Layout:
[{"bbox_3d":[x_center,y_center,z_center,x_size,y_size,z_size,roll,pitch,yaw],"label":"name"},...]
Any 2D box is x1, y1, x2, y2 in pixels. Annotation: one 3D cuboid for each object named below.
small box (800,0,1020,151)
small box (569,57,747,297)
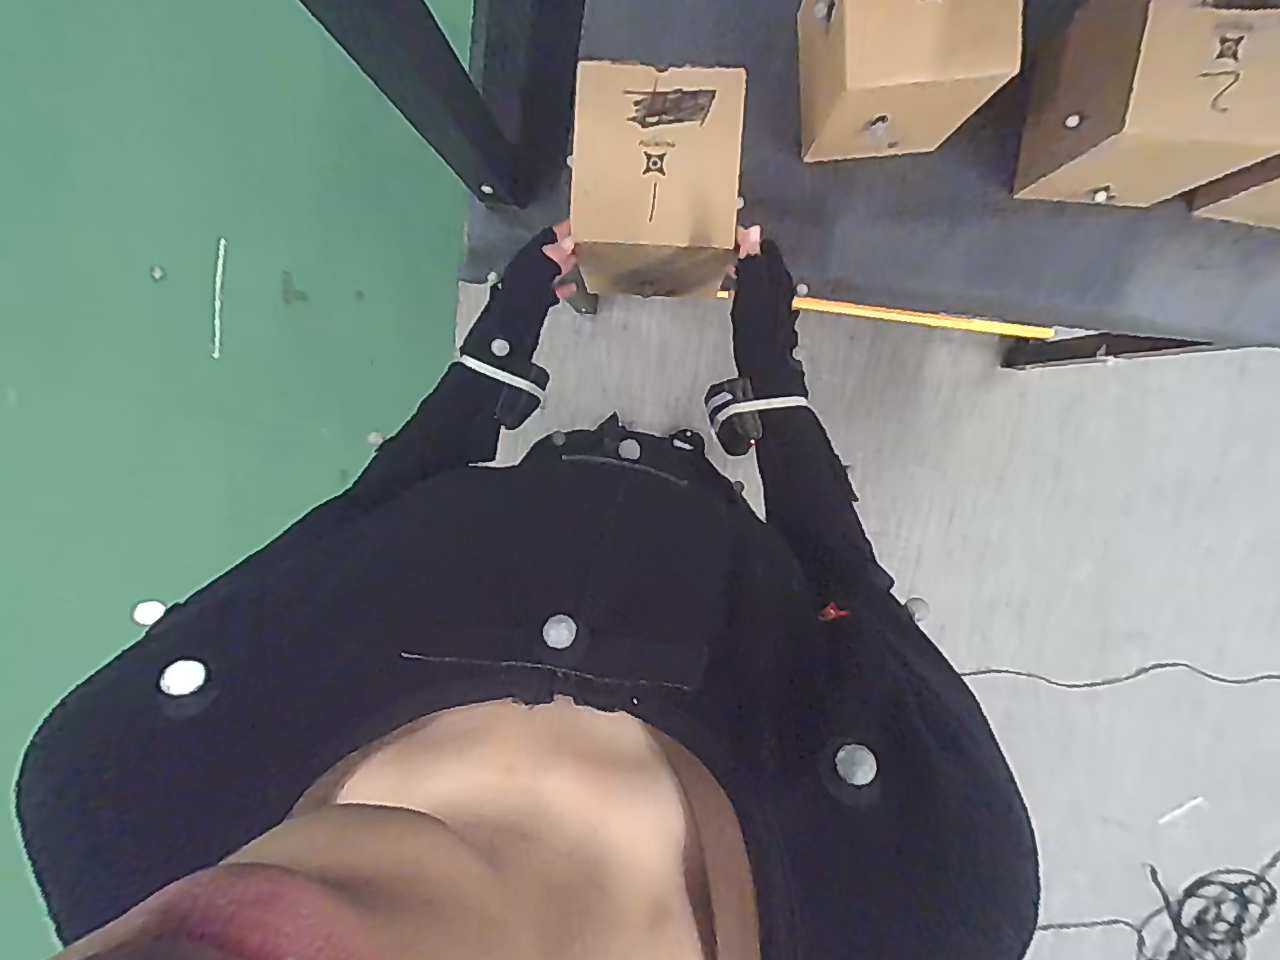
[{"bbox_3d":[0.276,-0.481,0.585,0.168,0.176,0.179,-3,98,3],"label":"small box"},{"bbox_3d":[0.018,-0.323,0.608,0.168,0.176,0.179,4,93,1],"label":"small box"}]
